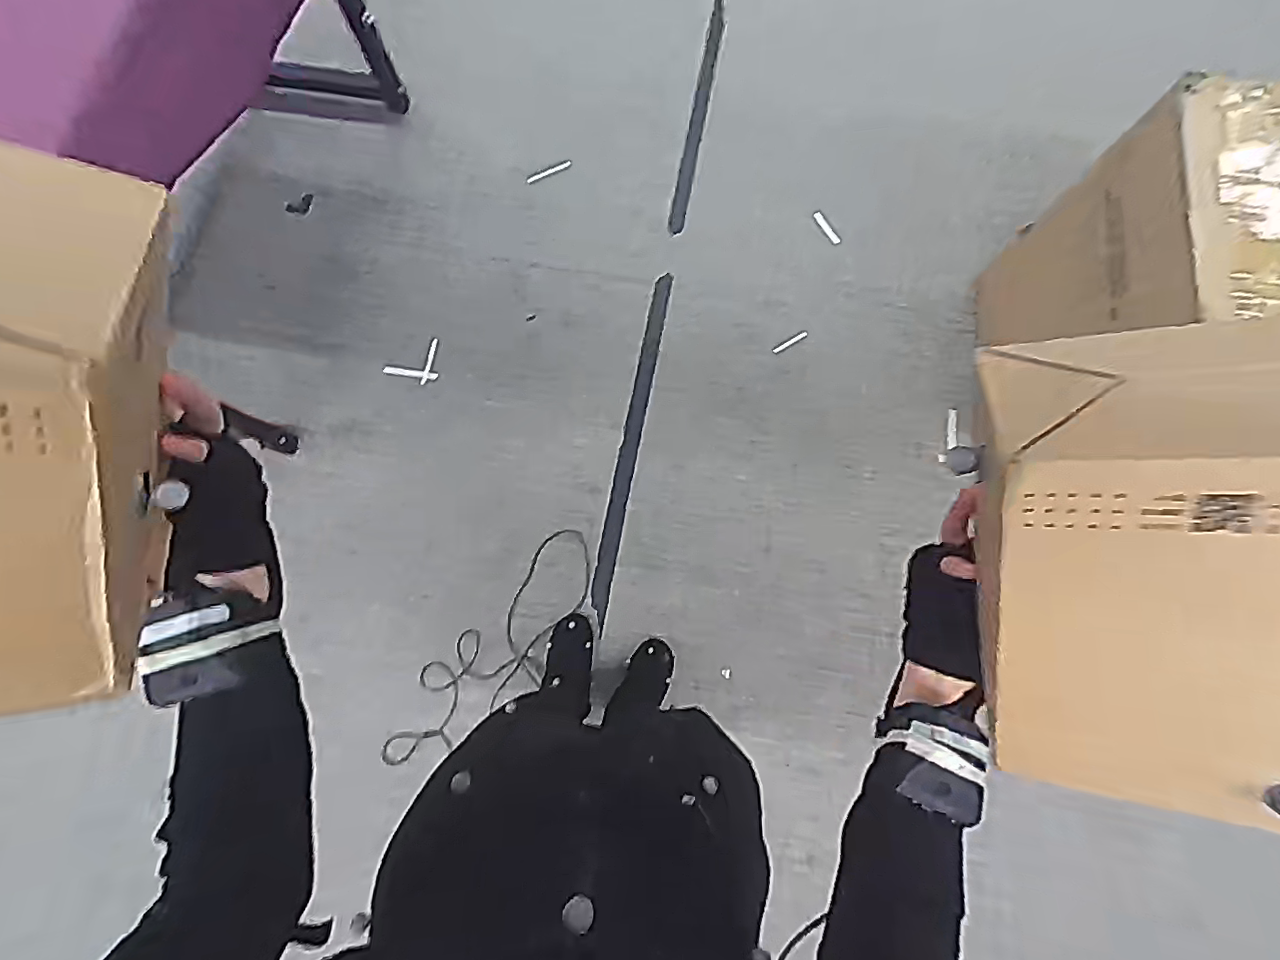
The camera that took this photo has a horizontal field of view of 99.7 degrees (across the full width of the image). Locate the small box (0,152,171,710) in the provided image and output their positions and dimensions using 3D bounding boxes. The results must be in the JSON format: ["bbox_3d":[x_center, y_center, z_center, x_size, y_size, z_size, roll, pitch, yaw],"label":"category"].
[{"bbox_3d":[-0.292,-0.027,0.191,0.179,0.176,0.168,3,36,-37],"label":"small box"}]

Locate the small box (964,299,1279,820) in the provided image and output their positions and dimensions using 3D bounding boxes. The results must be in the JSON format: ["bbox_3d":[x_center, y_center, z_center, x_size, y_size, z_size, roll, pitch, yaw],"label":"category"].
[{"bbox_3d":[0.253,0.022,0.254,0.168,0.179,0.176,-2,116,29],"label":"small box"}]
